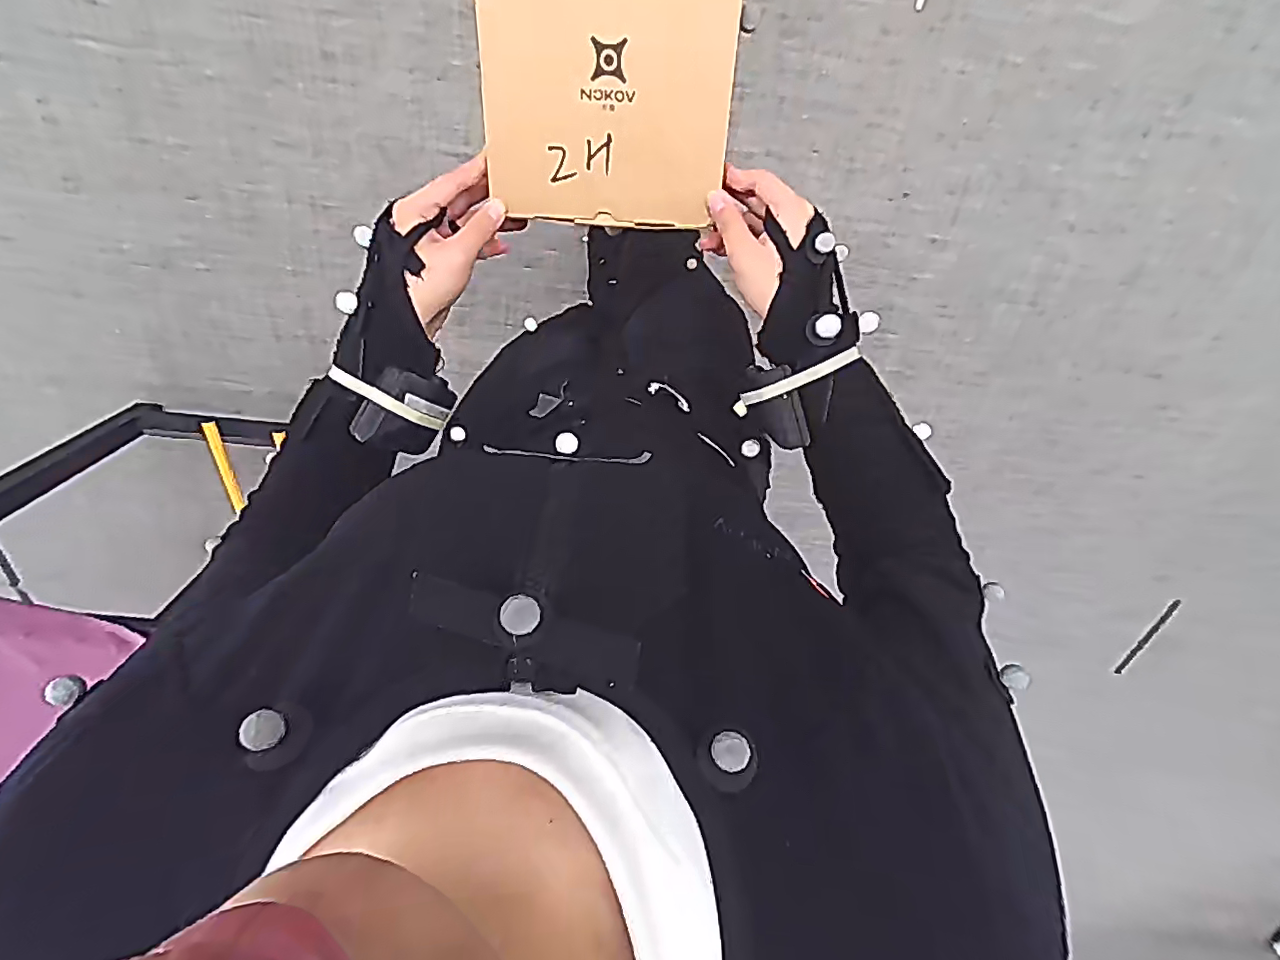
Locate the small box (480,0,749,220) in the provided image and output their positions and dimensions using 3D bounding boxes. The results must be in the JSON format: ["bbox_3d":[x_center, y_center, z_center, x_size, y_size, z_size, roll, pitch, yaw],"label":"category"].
[{"bbox_3d":[-0.017,-0.303,0.410,0.168,0.176,0.179,4,119,0],"label":"small box"}]
